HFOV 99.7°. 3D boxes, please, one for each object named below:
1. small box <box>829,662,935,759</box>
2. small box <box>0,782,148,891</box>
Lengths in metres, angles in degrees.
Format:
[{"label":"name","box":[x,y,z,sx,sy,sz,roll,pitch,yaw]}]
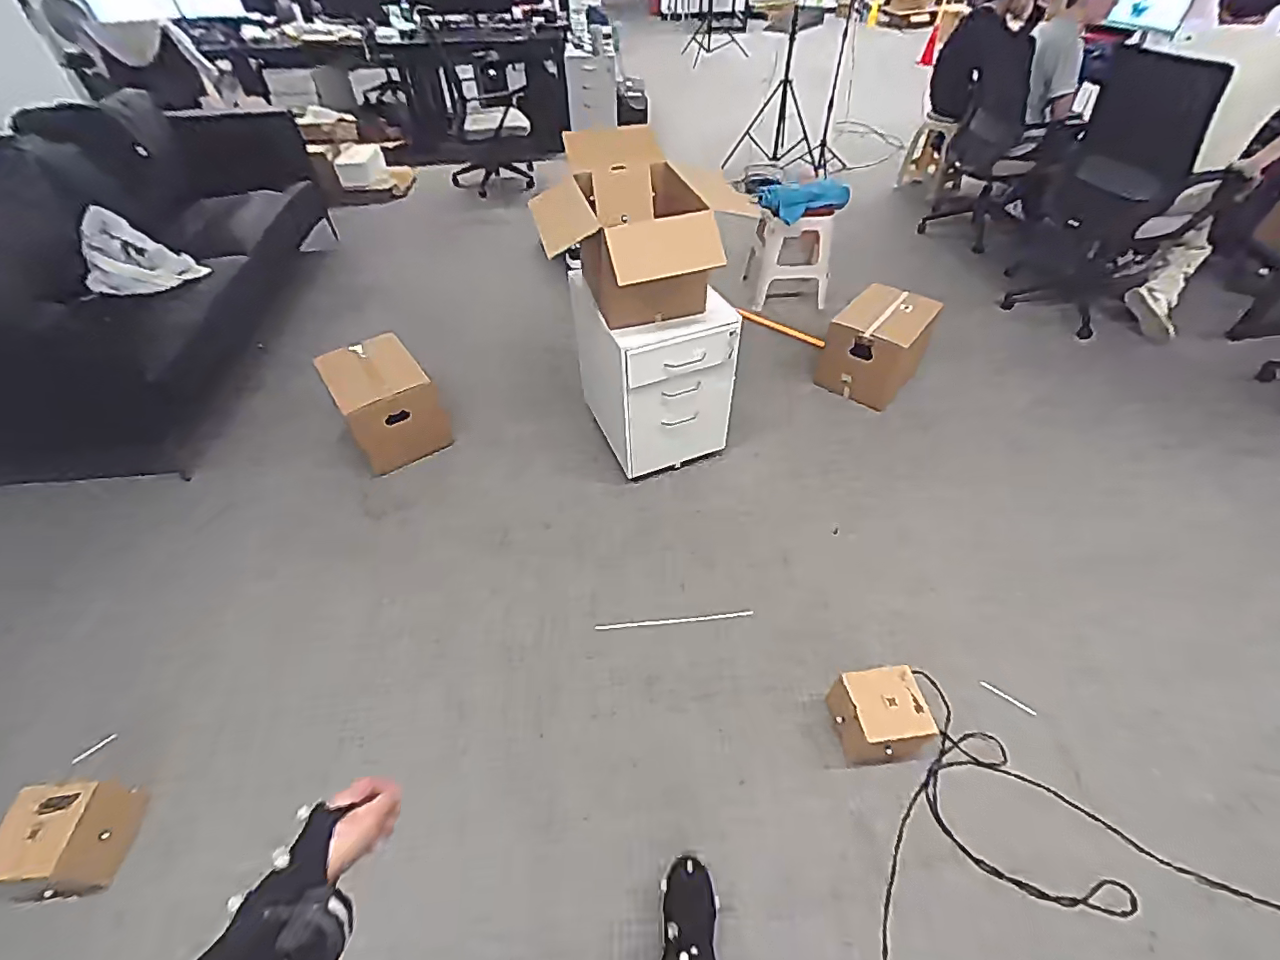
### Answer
[{"label":"small box","box":[0.586,0.577,1.344,0.179,0.176,0.168,-7,48,-3]},{"label":"small box","box":[-1.273,0.801,1.214,0.168,0.176,0.179,-4,48,-2]}]
